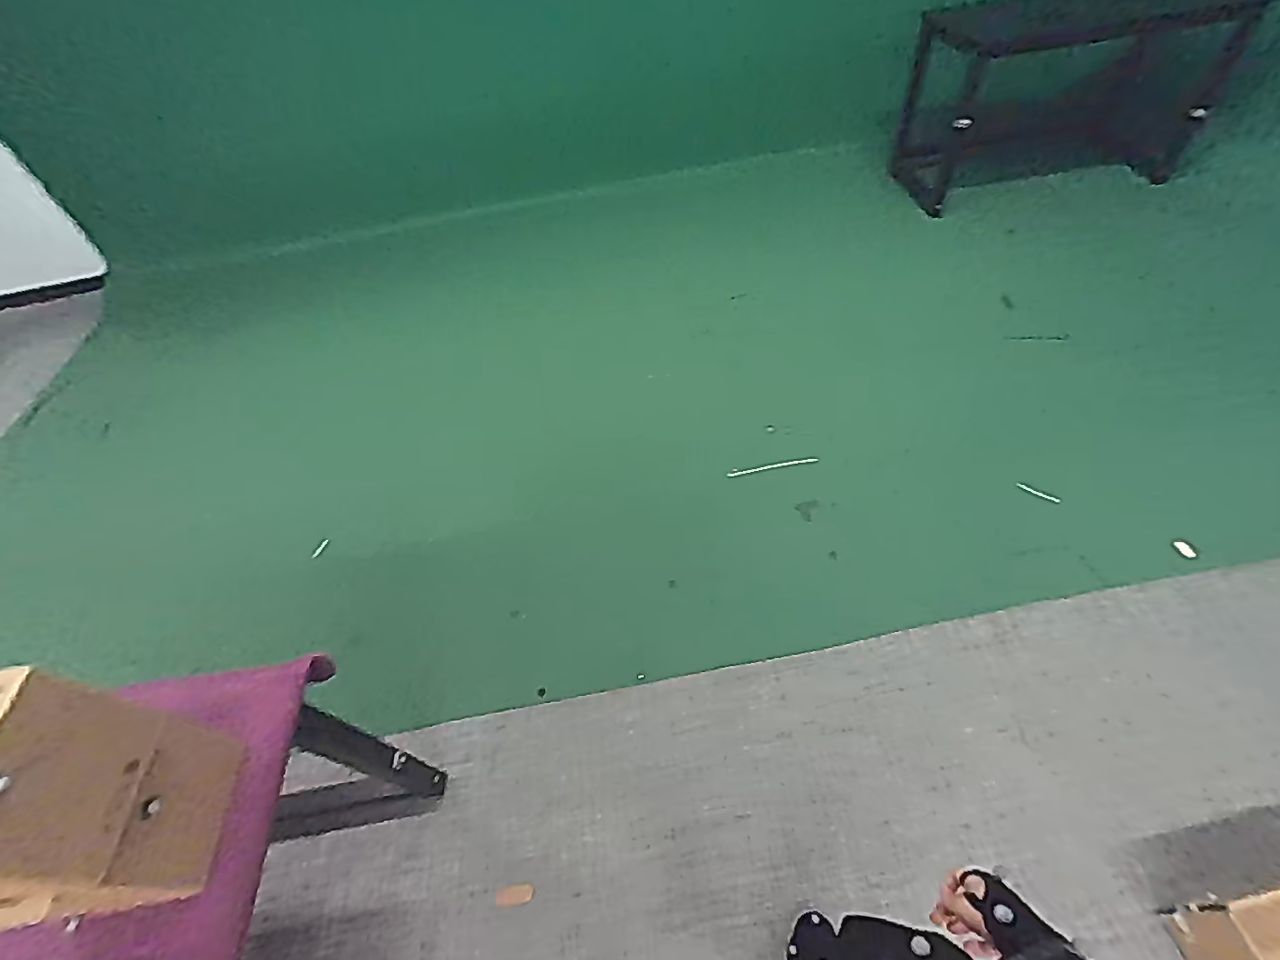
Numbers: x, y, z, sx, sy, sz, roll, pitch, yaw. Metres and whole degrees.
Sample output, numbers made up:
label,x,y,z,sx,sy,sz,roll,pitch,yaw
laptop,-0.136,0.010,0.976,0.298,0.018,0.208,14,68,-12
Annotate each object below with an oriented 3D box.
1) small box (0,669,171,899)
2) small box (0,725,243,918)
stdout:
label,x,y,z,sx,sy,sz,roll,pitch,yaw
small box,-0.635,0.306,0.530,0.179,0.176,0.168,-10,52,1
small box,-0.634,0.410,0.658,0.168,0.176,0.179,-12,50,-1
